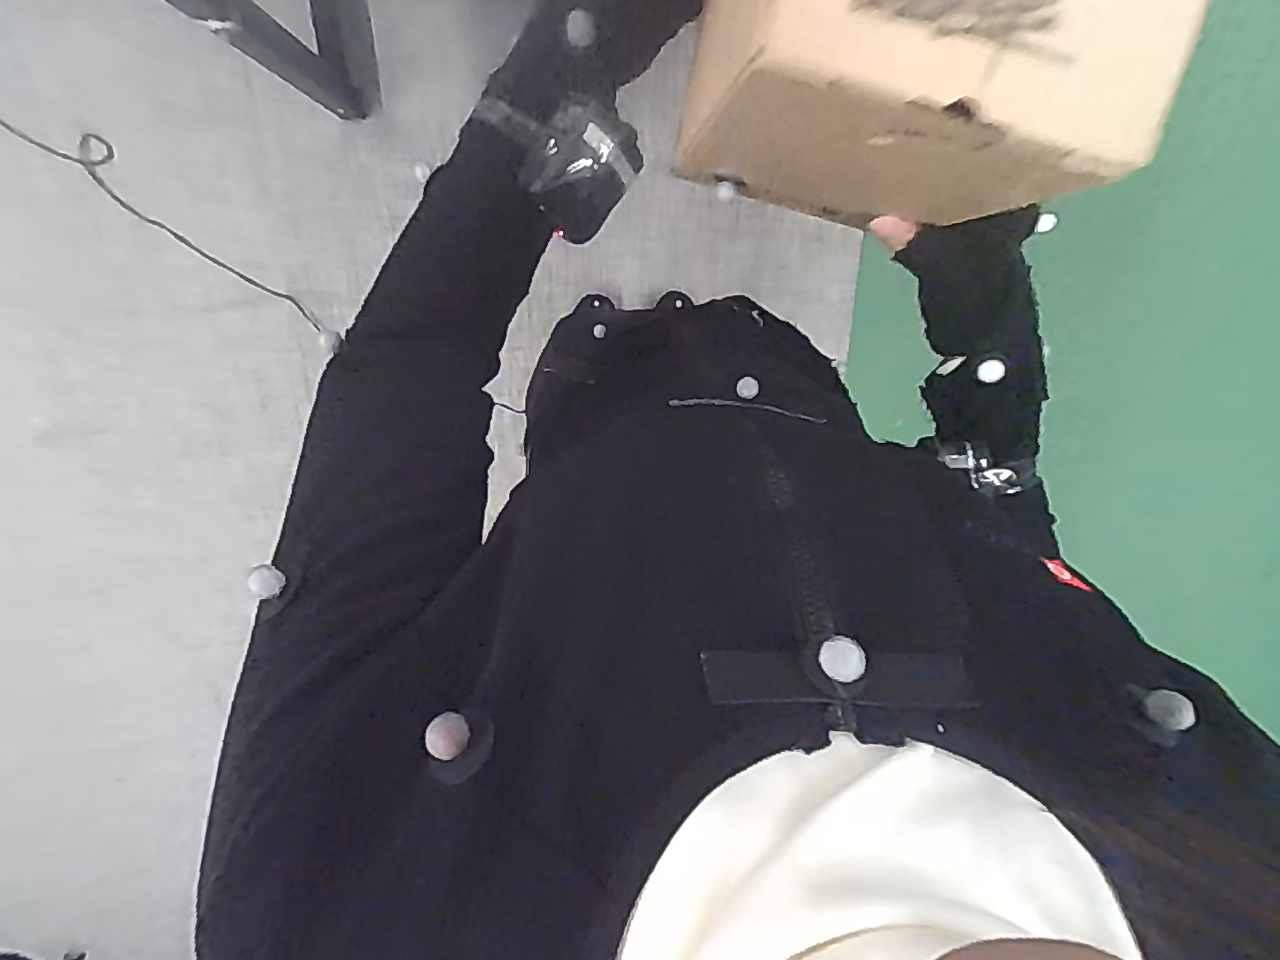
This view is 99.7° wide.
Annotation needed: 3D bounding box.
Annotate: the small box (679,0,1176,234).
[{"bbox_3d":[0.126,-0.241,0.272,0.168,0.176,0.179,10,104,-11],"label":"small box"}]
